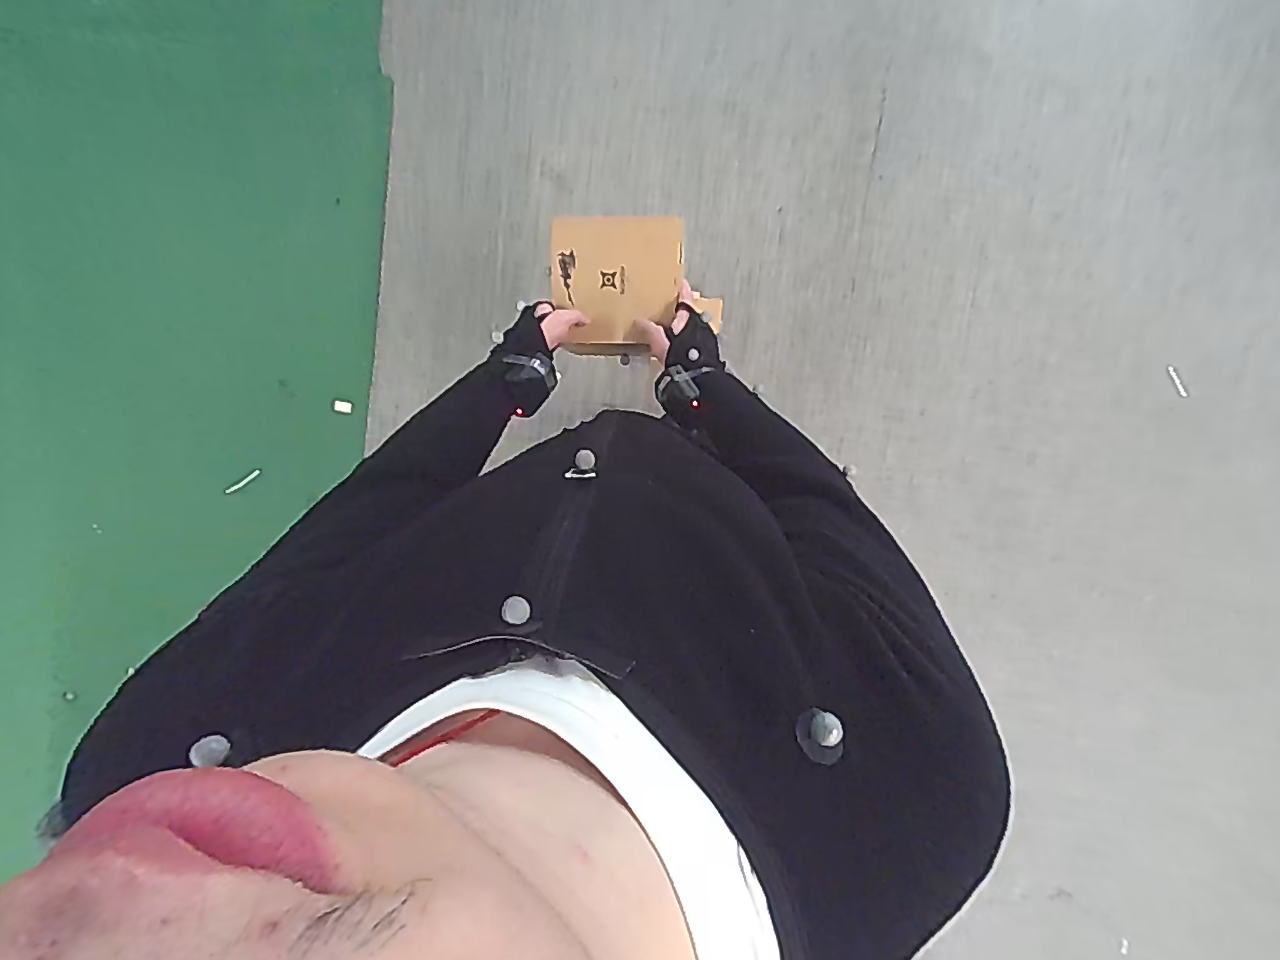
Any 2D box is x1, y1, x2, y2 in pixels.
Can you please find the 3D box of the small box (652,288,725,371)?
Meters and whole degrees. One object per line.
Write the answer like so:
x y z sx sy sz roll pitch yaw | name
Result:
0.120 -0.397 1.437 0.168 0.176 0.179 10 96 1 | small box

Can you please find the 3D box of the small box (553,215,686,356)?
-0.025 -0.276 0.797 0.179 0.176 0.168 2 98 4 | small box
